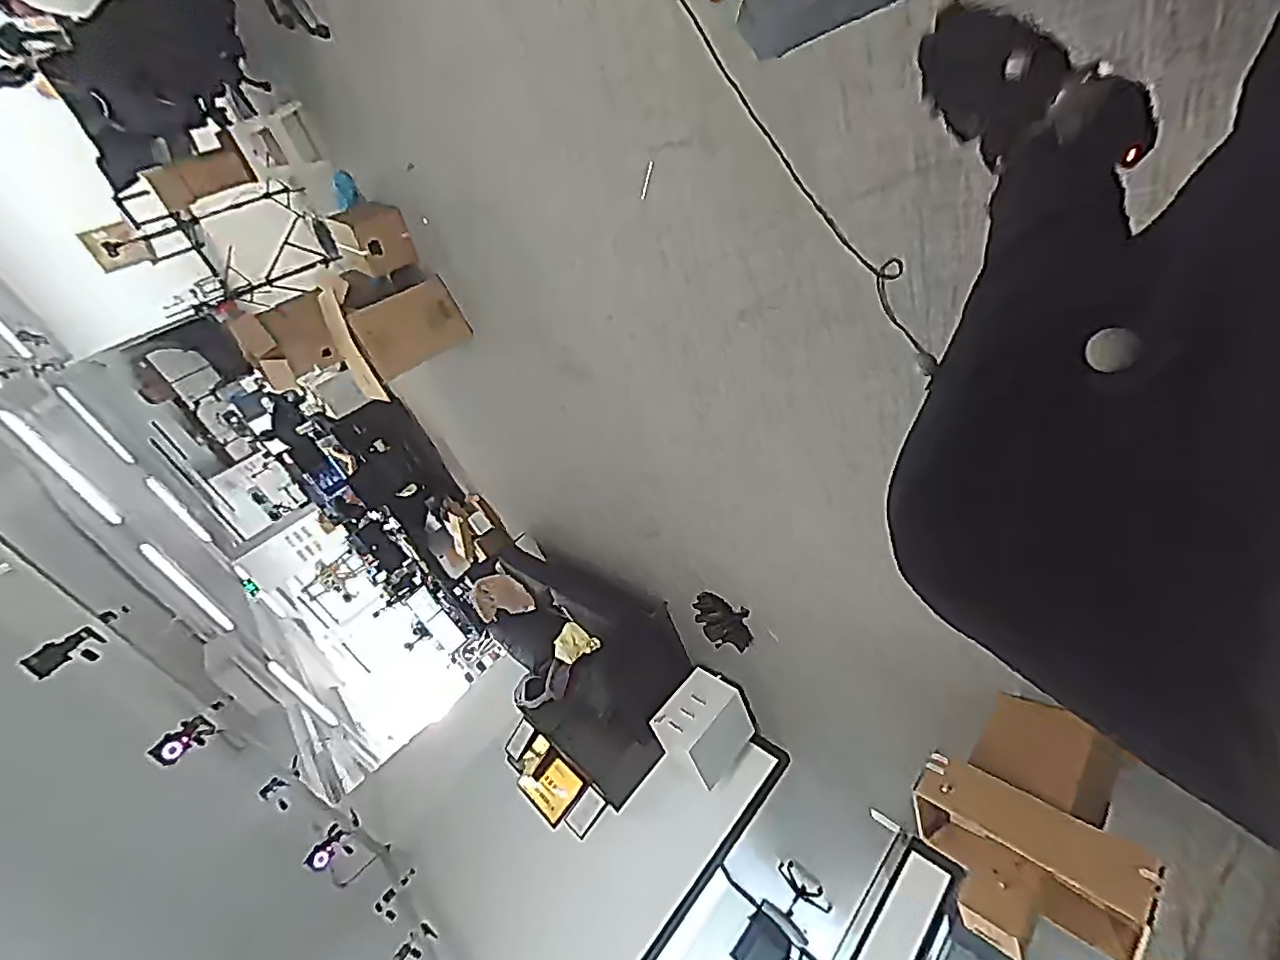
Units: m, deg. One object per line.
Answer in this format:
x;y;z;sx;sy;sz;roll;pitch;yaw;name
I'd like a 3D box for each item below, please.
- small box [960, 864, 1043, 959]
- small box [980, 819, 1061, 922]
1.120;1.348;1.669;0.168;0.176;0.179;8;131;51;small box
1.231;1.252;1.743;0.168;0.176;0.179;7;131;51;small box
